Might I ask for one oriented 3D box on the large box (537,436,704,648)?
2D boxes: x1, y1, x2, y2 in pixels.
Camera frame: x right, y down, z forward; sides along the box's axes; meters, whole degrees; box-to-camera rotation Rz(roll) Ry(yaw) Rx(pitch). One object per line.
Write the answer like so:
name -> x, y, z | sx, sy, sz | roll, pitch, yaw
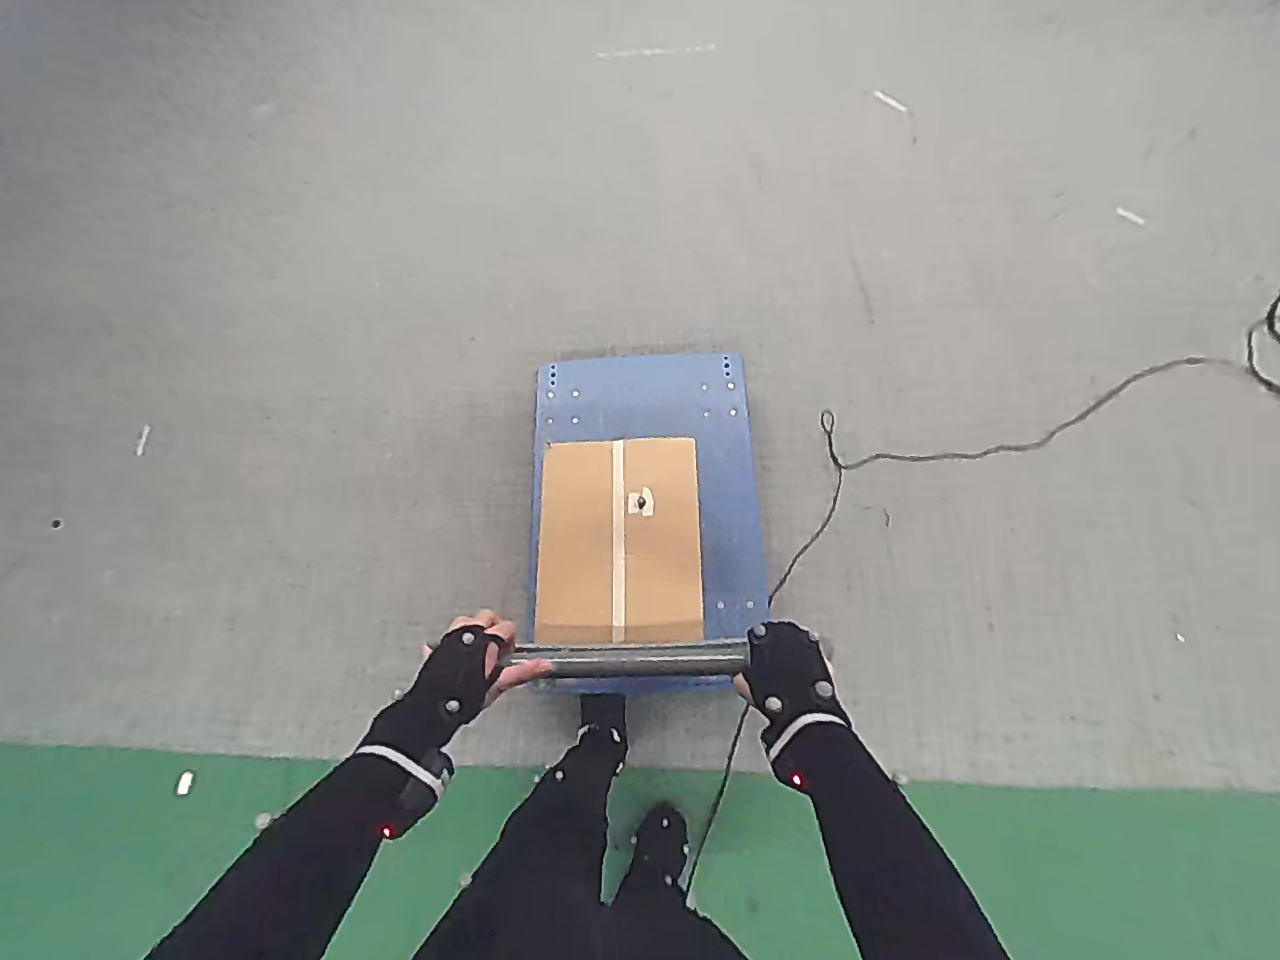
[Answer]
large box -> -0.032, 0.153, 1.194 | 0.320, 0.320, 0.408 | -2, 71, 3
